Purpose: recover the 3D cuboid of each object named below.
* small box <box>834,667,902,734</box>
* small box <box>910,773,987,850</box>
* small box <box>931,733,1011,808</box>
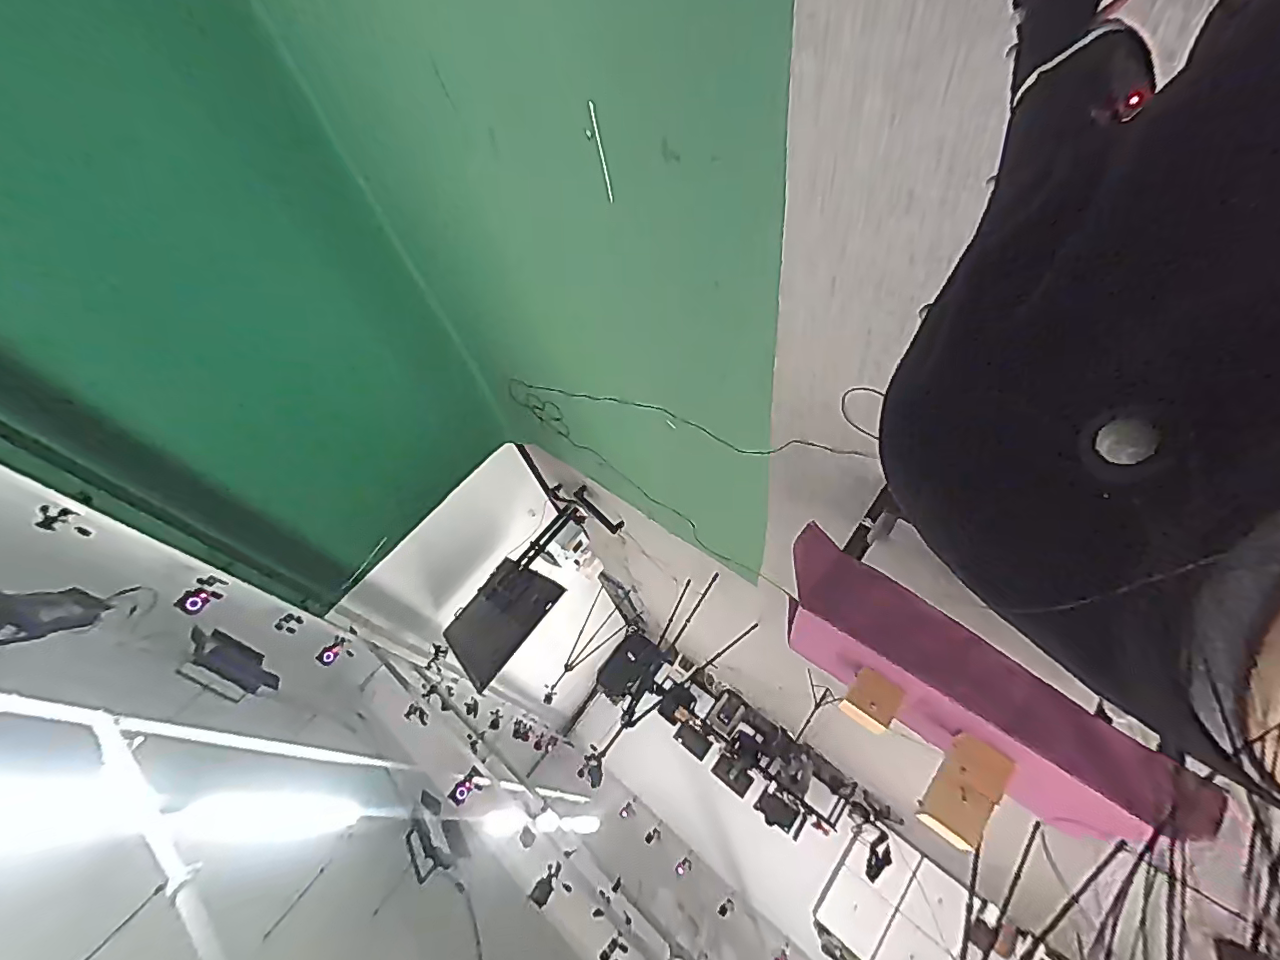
[{"bbox_3d":[0.899,0.869,2.132,0.179,0.176,0.168,33,158,24],"label":"small box"},{"bbox_3d":[1.094,1.171,1.916,0.168,0.176,0.179,31,158,28],"label":"small box"},{"bbox_3d":[1.202,1.055,1.964,0.179,0.176,0.168,32,158,28],"label":"small box"}]
